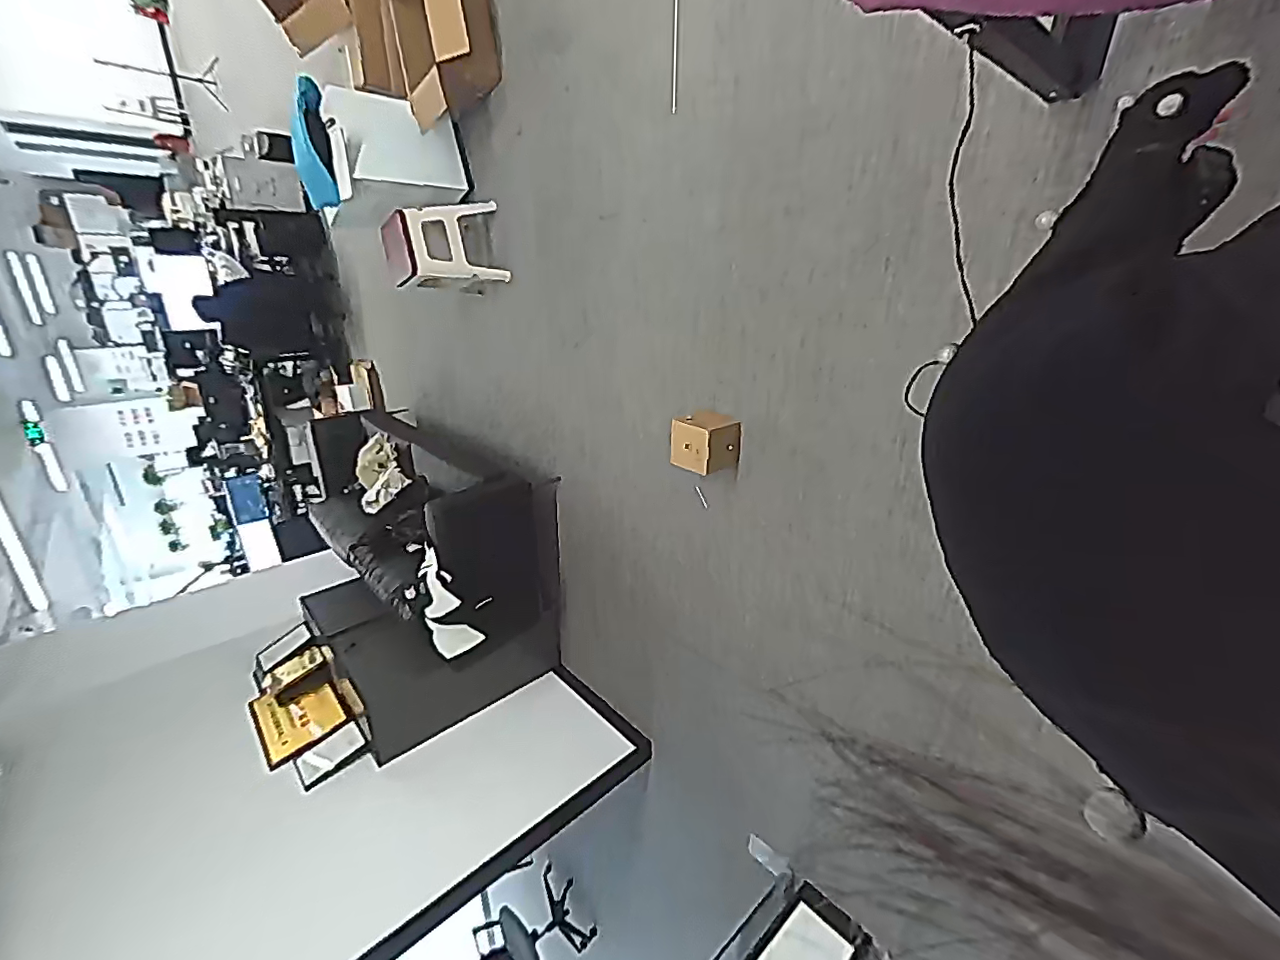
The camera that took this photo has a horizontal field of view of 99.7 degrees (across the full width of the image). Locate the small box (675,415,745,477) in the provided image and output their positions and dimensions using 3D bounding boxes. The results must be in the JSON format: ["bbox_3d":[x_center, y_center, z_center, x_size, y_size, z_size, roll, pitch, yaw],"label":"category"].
[{"bbox_3d":[0.247,-0.128,1.919,0.179,0.176,0.168,23,121,43],"label":"small box"}]
